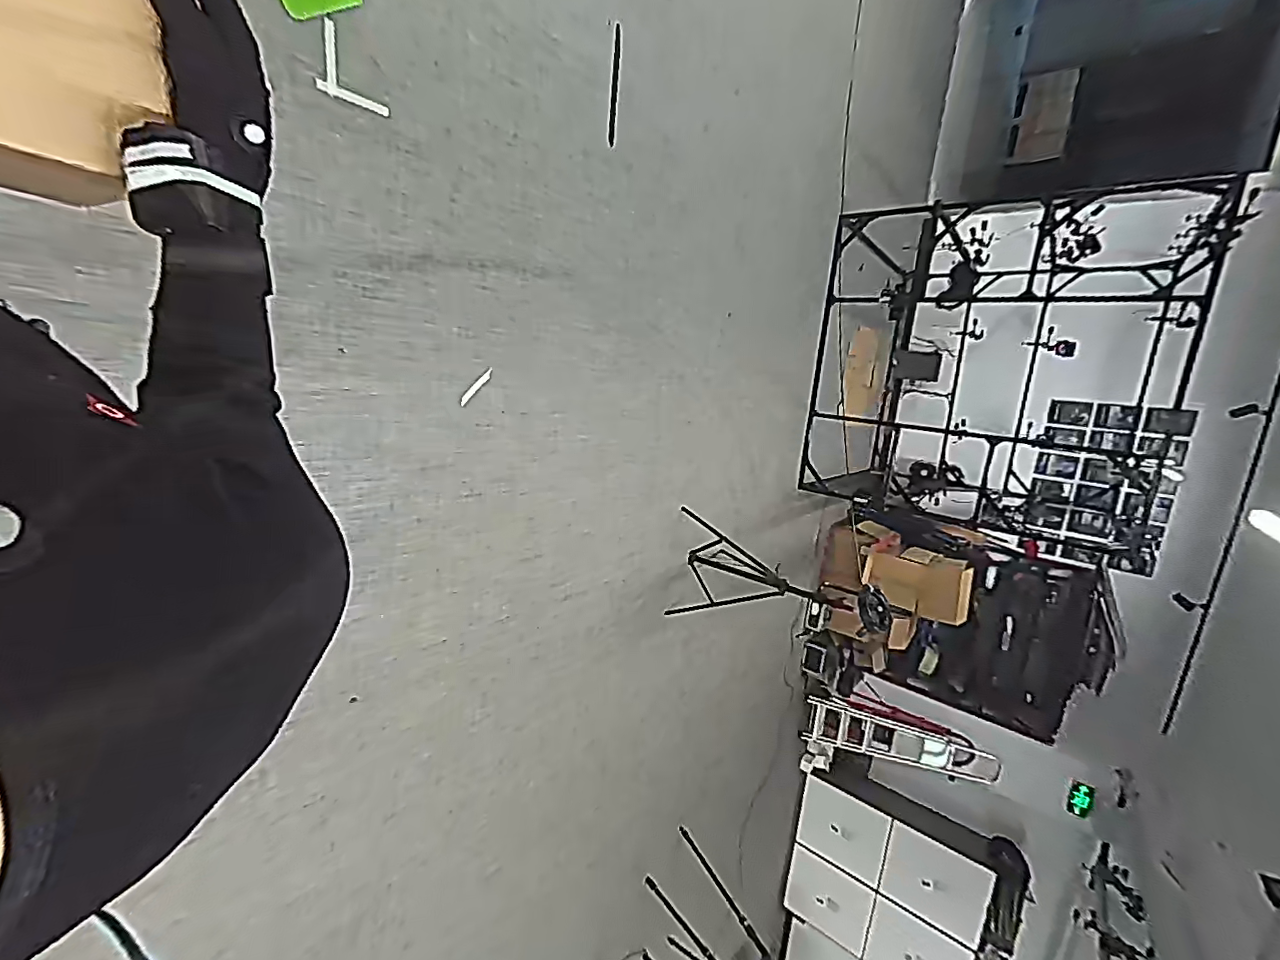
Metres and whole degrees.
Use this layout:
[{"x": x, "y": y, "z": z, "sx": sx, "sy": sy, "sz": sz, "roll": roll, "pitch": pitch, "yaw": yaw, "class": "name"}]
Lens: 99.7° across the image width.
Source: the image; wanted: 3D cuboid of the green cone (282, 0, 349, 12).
[{"x": -0.613, "y": -1.131, "z": 1.085, "sx": 0.202, "sy": 0.368, "sz": 0.200, "roll": -52, "pitch": 139, "yaw": -32, "class": "green cone"}]

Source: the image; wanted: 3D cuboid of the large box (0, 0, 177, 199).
[{"x": -0.573, "y": -0.396, "z": 0.311, "sx": 0.408, "sy": 0.320, "sz": 0.320, "roll": -6, "pitch": 110, "yaw": -55, "class": "large box"}]
